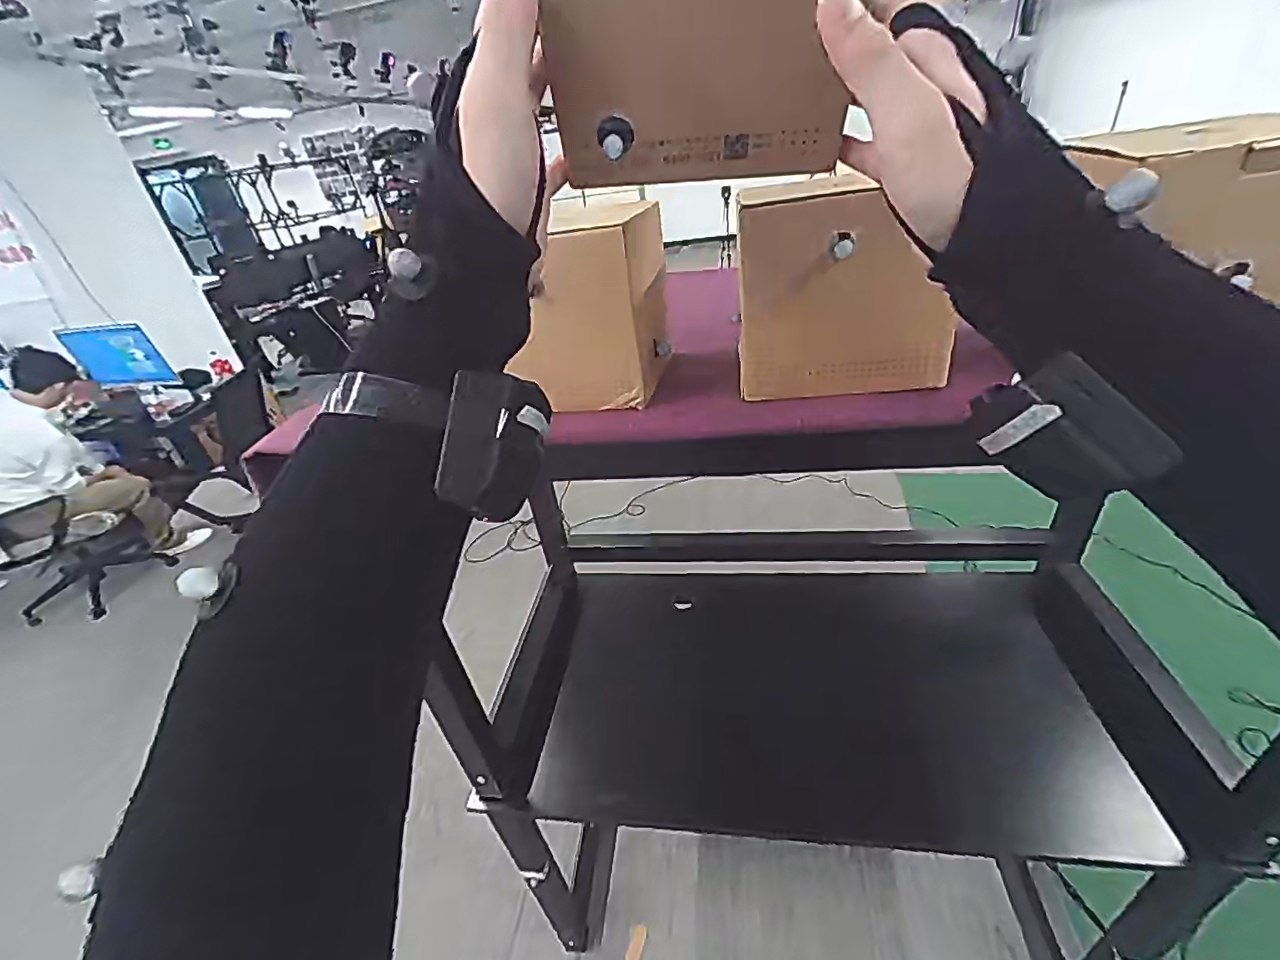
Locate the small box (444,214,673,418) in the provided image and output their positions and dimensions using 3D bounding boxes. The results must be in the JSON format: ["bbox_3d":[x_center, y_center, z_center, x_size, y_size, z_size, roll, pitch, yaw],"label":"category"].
[{"bbox_3d":[-0.069,-0.173,0.574,0.179,0.176,0.168,1,32,14],"label":"small box"}]

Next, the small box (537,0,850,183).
[{"bbox_3d":[0.033,-0.305,0.333,0.168,0.176,0.179,-1,56,5],"label":"small box"}]
